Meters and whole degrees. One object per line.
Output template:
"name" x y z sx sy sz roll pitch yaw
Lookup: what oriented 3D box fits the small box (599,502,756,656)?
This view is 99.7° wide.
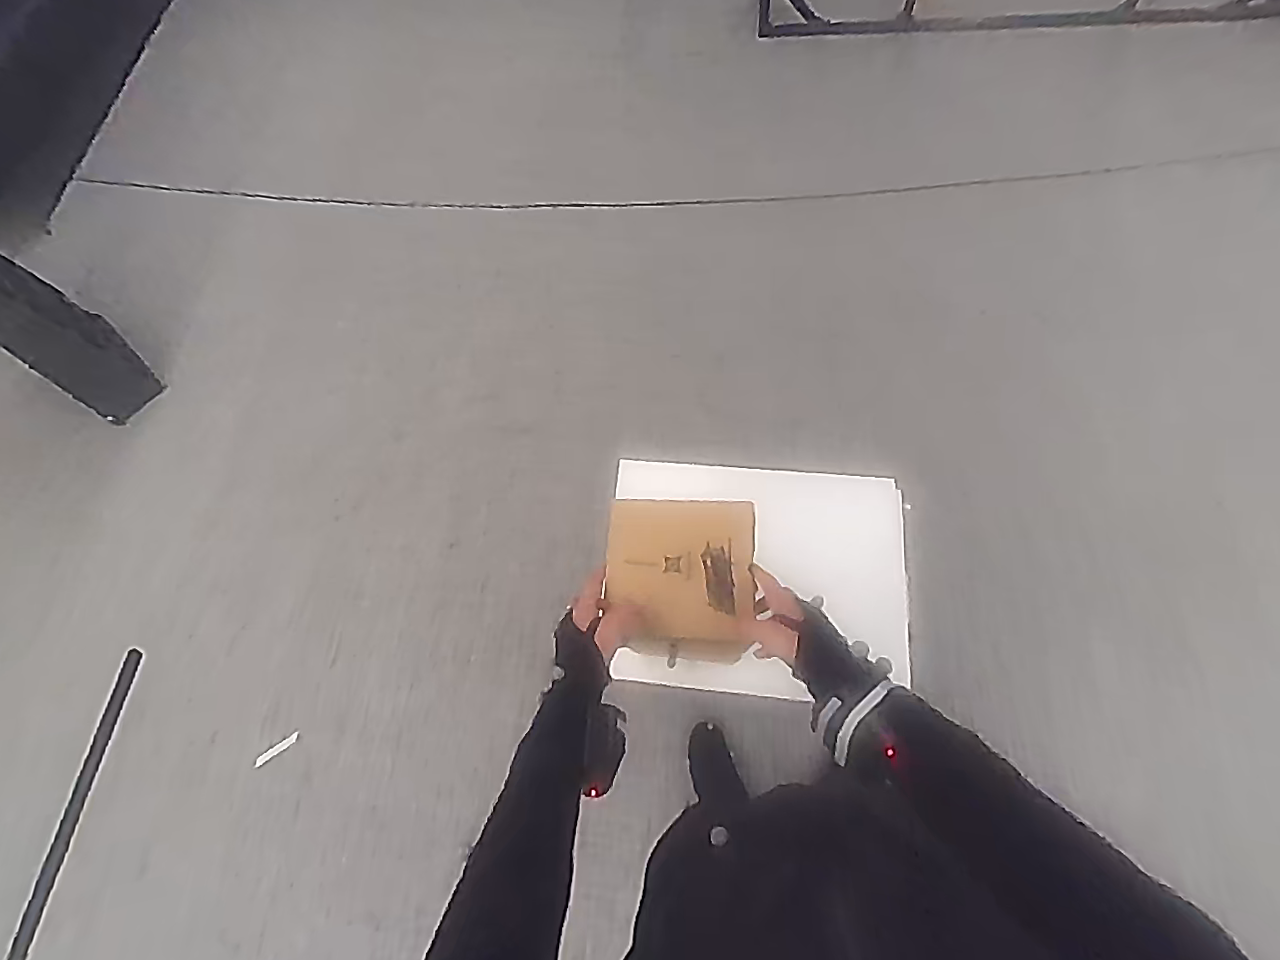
"small box" 0.053 0.134 0.700 0.179 0.176 0.168 0 68 7

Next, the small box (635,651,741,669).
"small box" 0.074 0.193 0.851 0.168 0.176 0.179 5 69 7
